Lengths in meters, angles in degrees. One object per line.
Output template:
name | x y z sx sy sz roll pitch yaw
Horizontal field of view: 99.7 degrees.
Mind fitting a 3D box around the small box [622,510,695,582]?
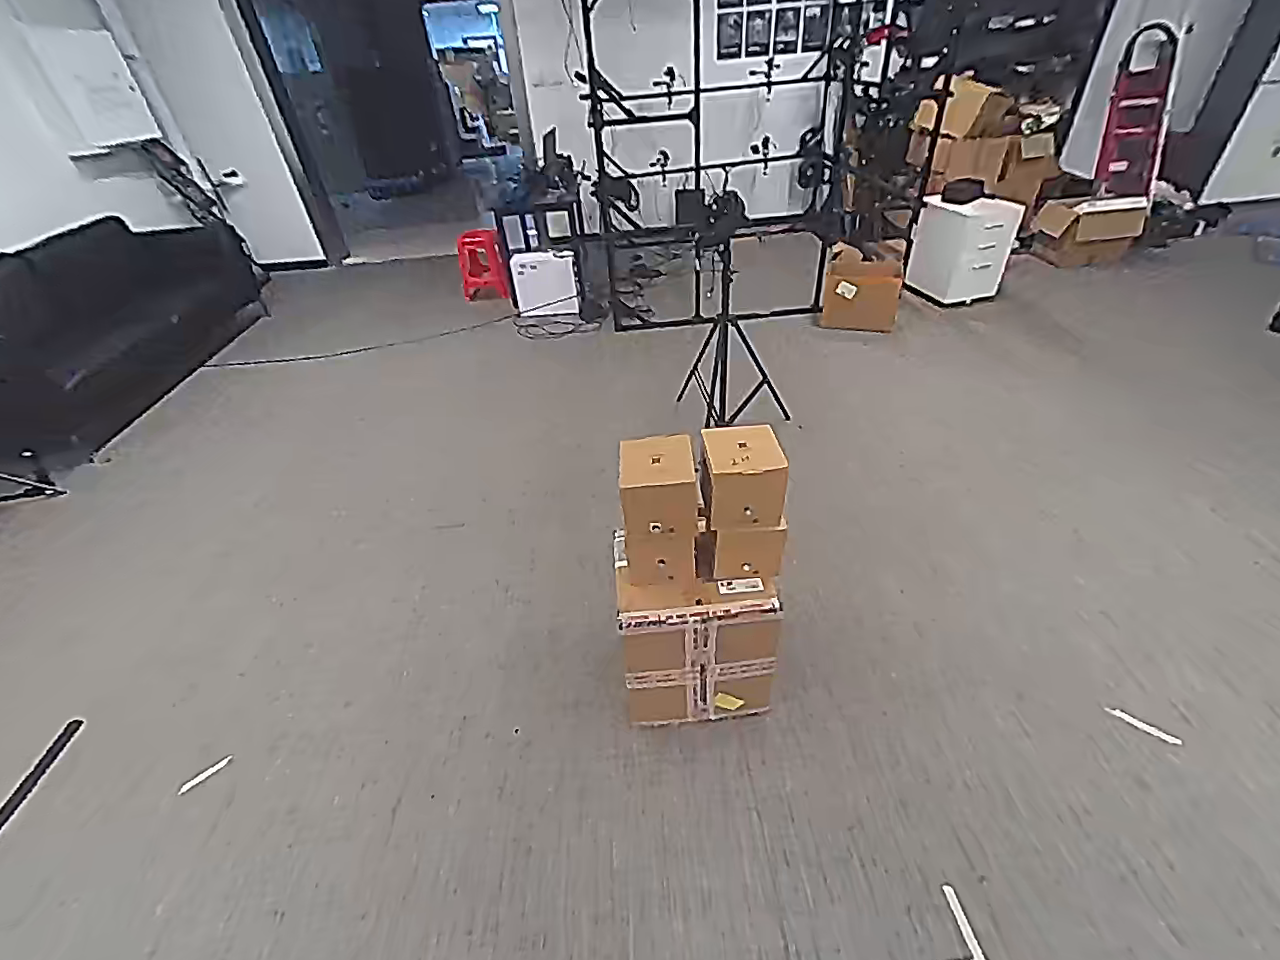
small box | 0.047 0.143 1.356 0.168 0.176 0.179 -5 40 2

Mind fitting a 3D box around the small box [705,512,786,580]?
small box | 0.255 0.130 1.352 0.168 0.176 0.179 -3 40 0

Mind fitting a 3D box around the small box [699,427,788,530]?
small box | 0.231 -0.004 1.258 0.168 0.176 0.179 -5 39 -2

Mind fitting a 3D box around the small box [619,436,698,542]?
small box | 0.043 0.021 1.246 0.168 0.176 0.179 -6 41 3
